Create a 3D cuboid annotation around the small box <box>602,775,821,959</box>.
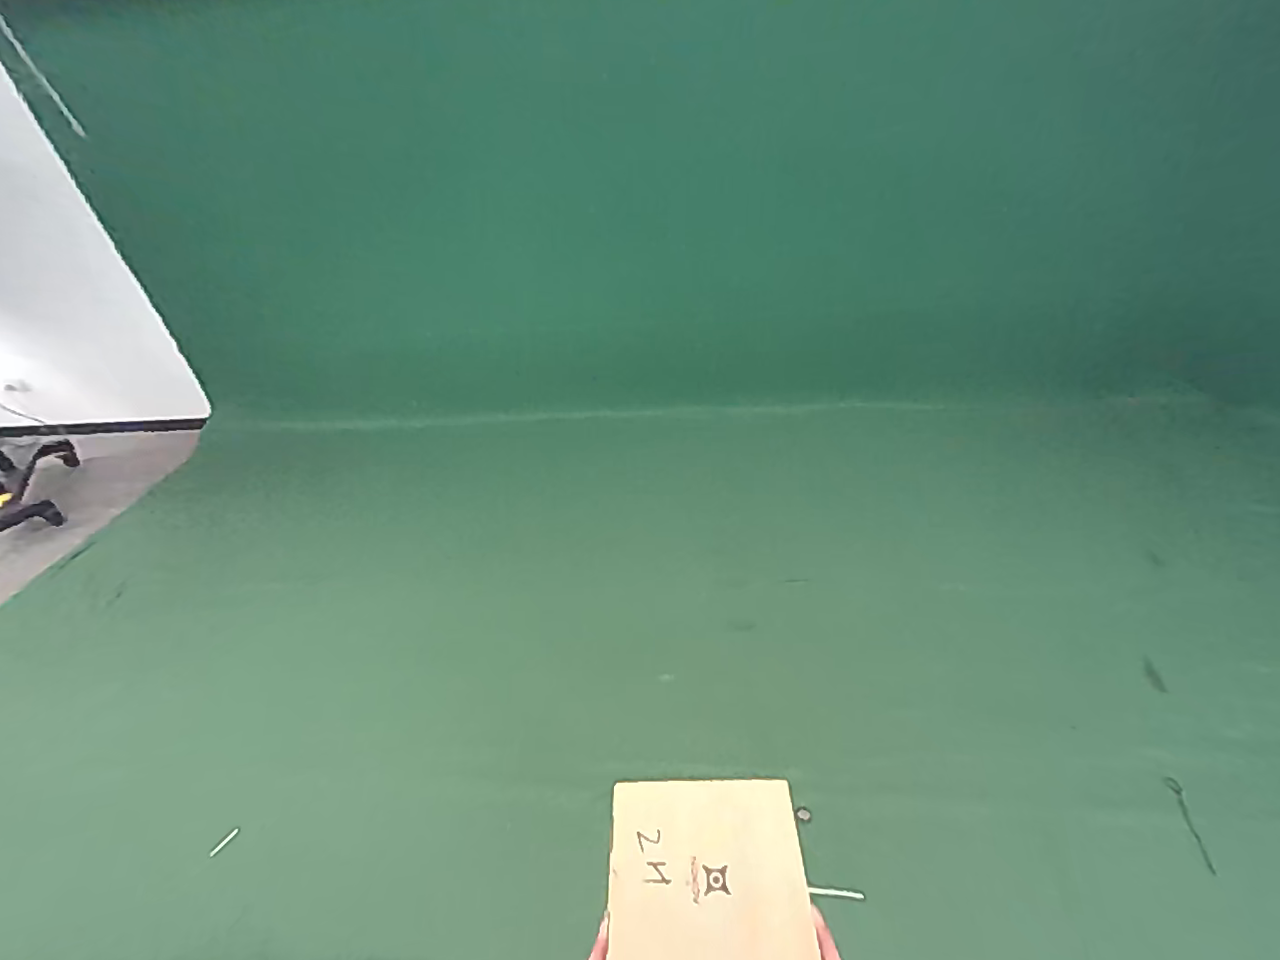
[{"bbox_3d":[0.063,0.409,0.523,0.179,0.176,0.168,-3,37,4],"label":"small box"}]
